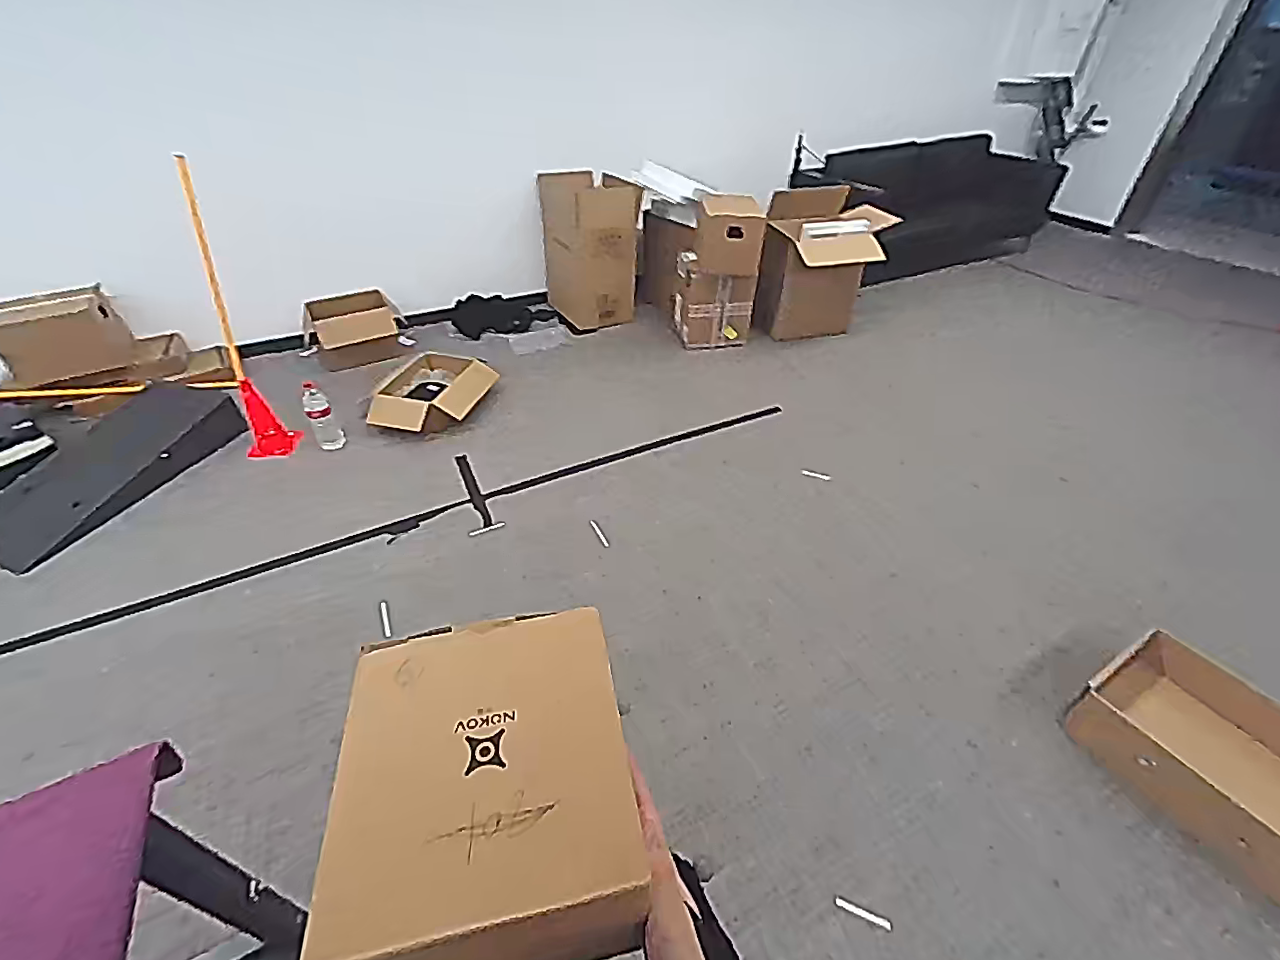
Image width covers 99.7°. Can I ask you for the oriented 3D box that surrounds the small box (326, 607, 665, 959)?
[{"bbox_3d":[-0.086,0.219,0.376,0.168,0.176,0.179,-8,42,-11],"label":"small box"}]
